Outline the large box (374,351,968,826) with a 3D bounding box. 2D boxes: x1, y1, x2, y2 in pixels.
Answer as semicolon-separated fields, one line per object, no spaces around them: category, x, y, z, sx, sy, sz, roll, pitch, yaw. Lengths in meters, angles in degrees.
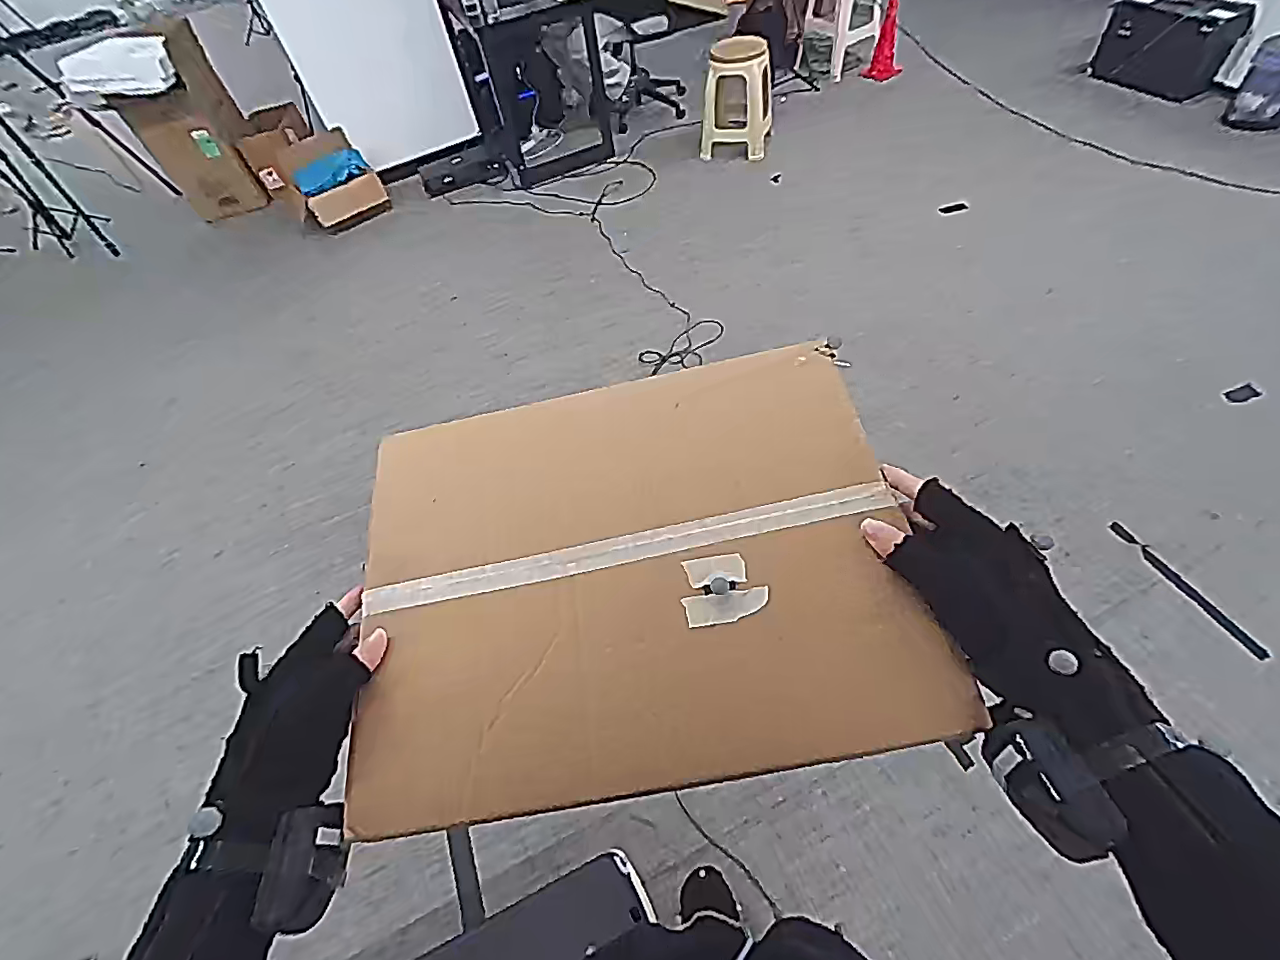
large box;0.012;0.126;0.550;0.408;0.320;0.320;-12;61;3
